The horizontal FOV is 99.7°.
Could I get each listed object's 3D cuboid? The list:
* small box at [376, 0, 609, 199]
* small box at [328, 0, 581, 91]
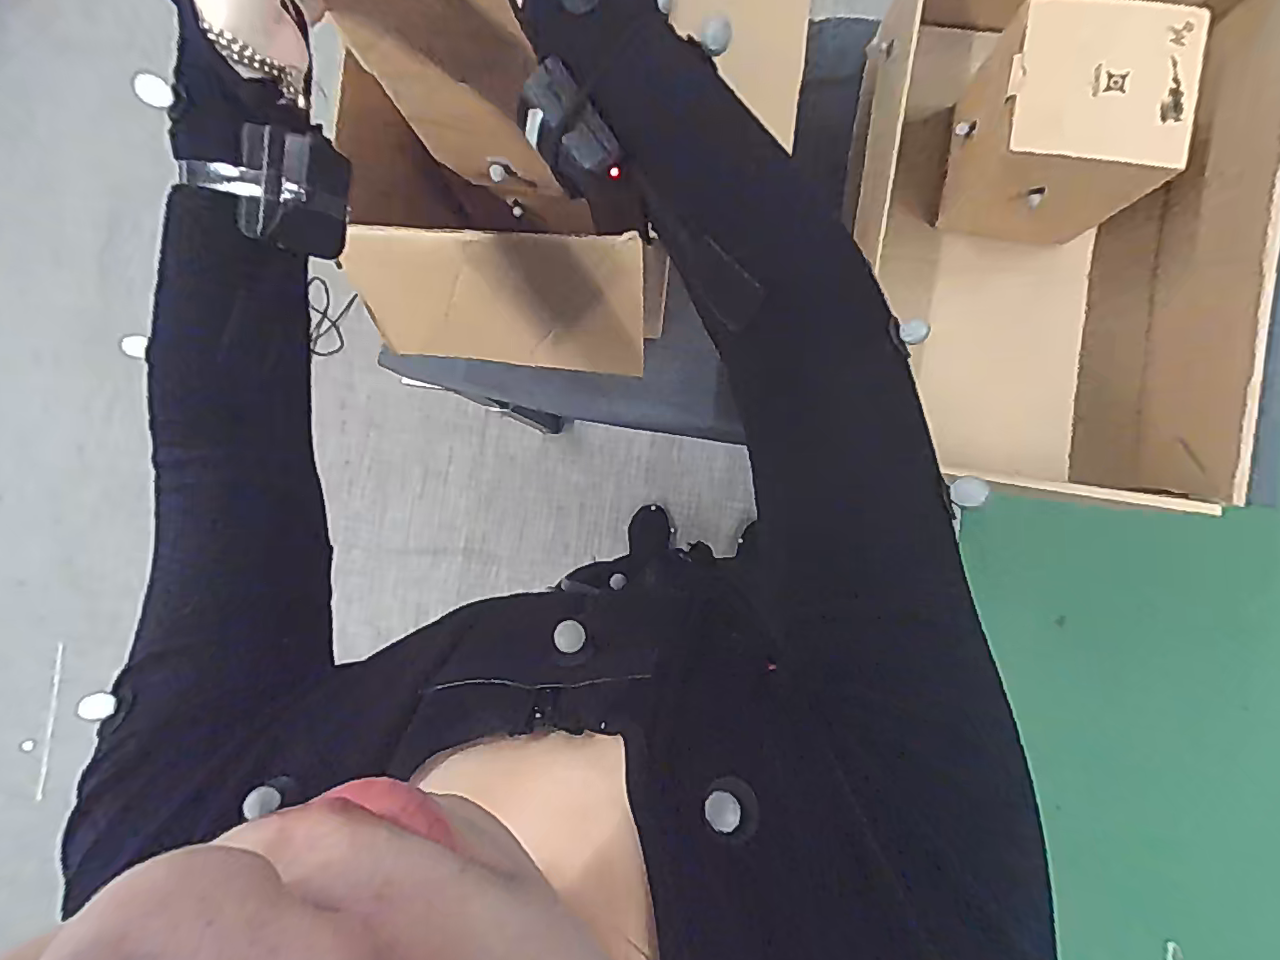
[{"bbox_3d":[-0.130,-0.420,0.540,0.168,0.176,0.179,11,91,3],"label":"small box"},{"bbox_3d":[-0.137,-0.411,0.373,0.179,0.176,0.168,8,91,1],"label":"small box"}]
